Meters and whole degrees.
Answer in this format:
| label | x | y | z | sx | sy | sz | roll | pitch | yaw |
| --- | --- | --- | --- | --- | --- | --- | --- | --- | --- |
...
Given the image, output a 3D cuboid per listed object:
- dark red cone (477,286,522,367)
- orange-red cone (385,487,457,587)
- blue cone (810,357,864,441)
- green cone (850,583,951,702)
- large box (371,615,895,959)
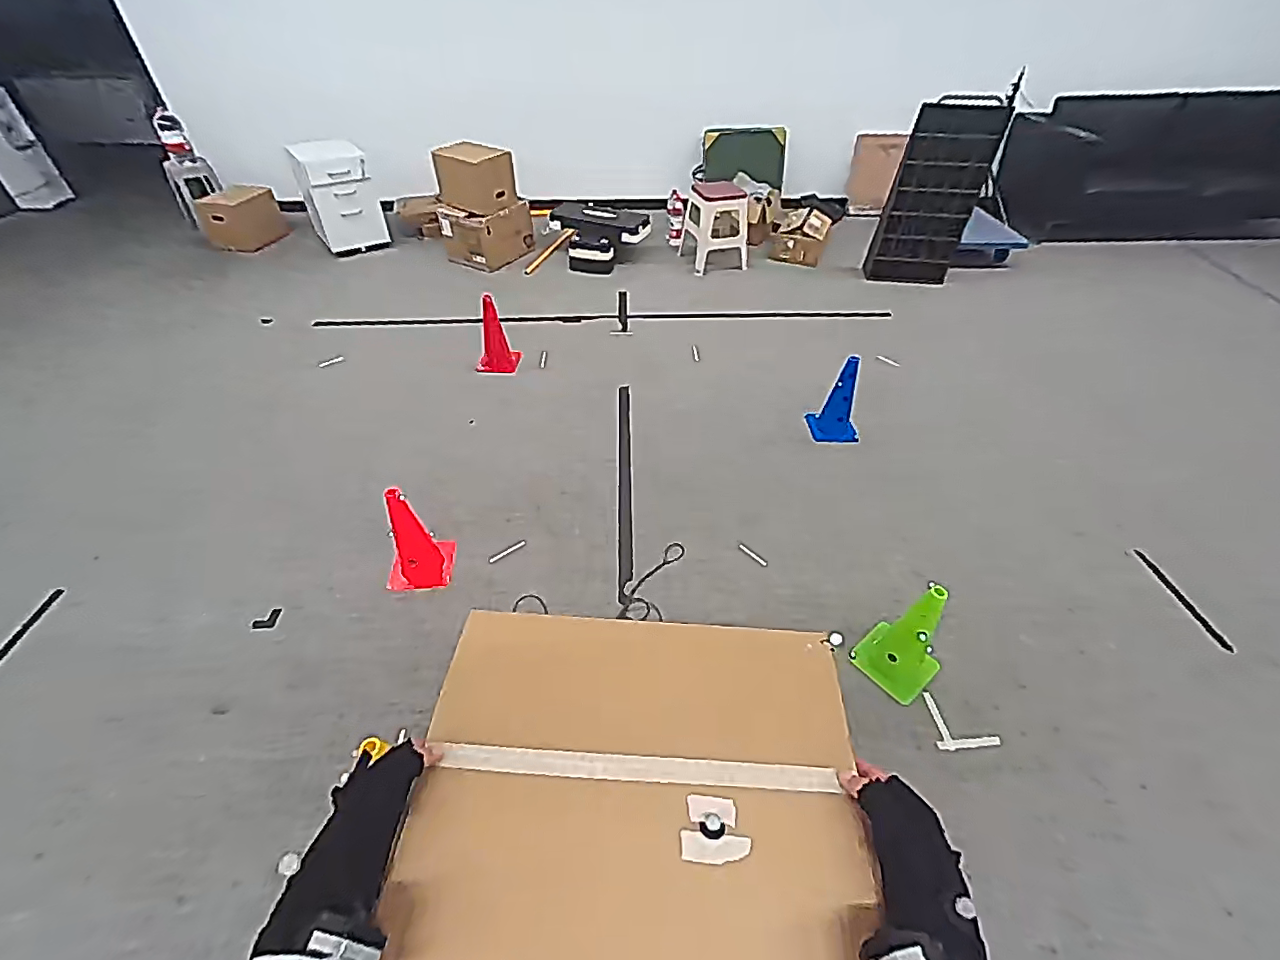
| label | x | y | z | sx | sy | sz | roll | pitch | yaw |
| --- | --- | --- | --- | --- | --- | --- | --- | --- | --- |
| dark red cone | -0.712 | -0.755 | 2.652 | 0.201 | 0.394 | 0.202 | 4 | 44 | 1 |
| orange-red cone | -0.736 | 0.159 | 1.728 | 0.198 | 0.360 | 0.199 | -3 | 45 | -3 |
| blue cone | 0.874 | -0.354 | 2.316 | 0.192 | 0.380 | 0.193 | 2 | 44 | 0 |
| green cone | 0.762 | 0.409 | 1.488 | 0.202 | 0.368 | 0.200 | -28 | 52 | -29 |
| large box | -0.004 | 0.377 | 0.607 | 0.408 | 0.320 | 0.320 | 4 | 44 | 1 |
